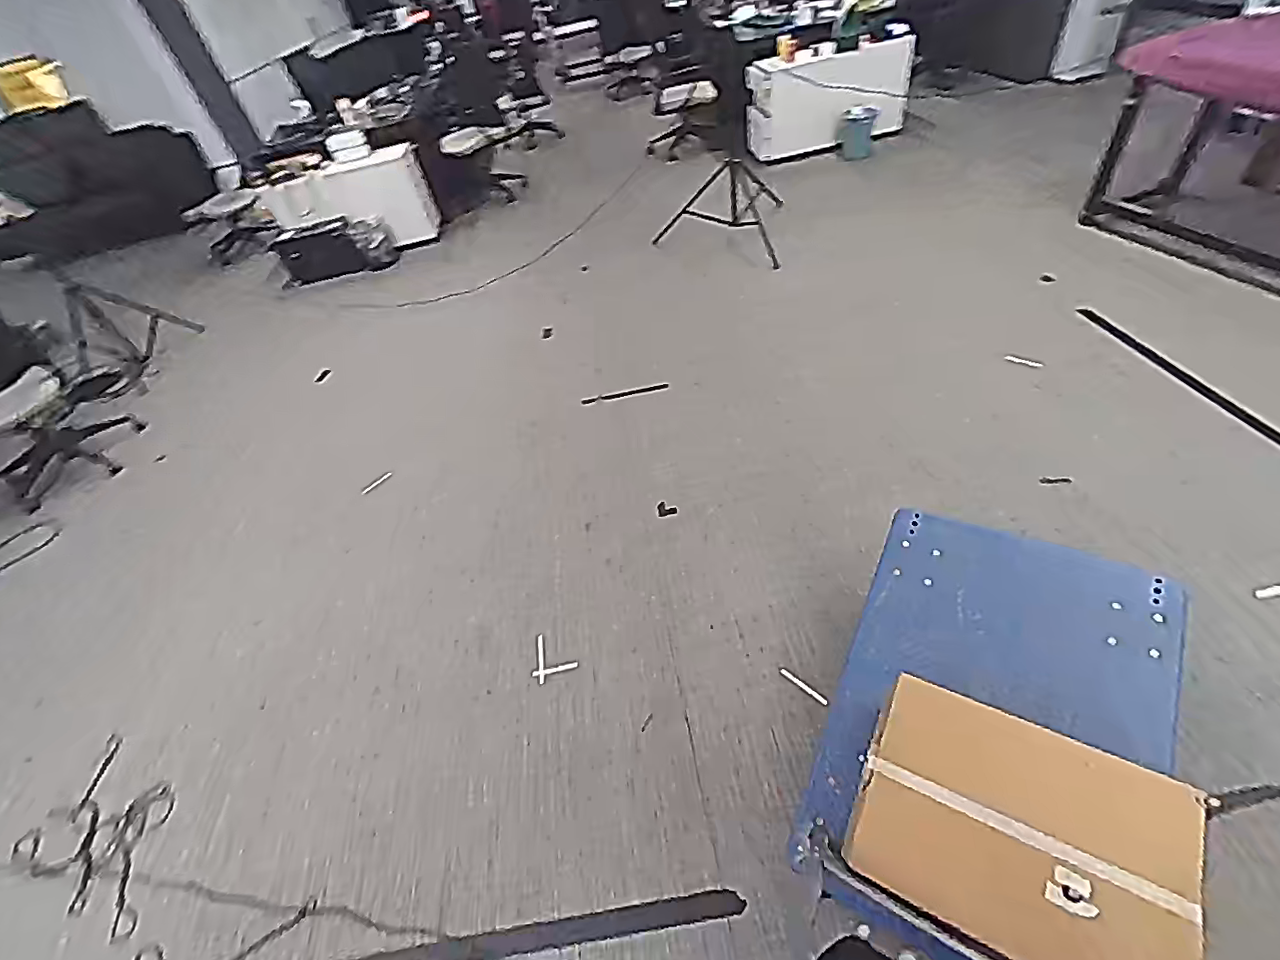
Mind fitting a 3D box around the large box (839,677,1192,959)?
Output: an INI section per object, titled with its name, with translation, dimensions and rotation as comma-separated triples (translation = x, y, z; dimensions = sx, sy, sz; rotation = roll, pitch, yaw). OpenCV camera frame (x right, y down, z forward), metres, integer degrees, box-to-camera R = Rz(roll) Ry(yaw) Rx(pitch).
[large box]
translation = 0.591, 0.594, 0.925
dimensions = 0.408, 0.320, 0.320
rotation = 18, 66, 26
